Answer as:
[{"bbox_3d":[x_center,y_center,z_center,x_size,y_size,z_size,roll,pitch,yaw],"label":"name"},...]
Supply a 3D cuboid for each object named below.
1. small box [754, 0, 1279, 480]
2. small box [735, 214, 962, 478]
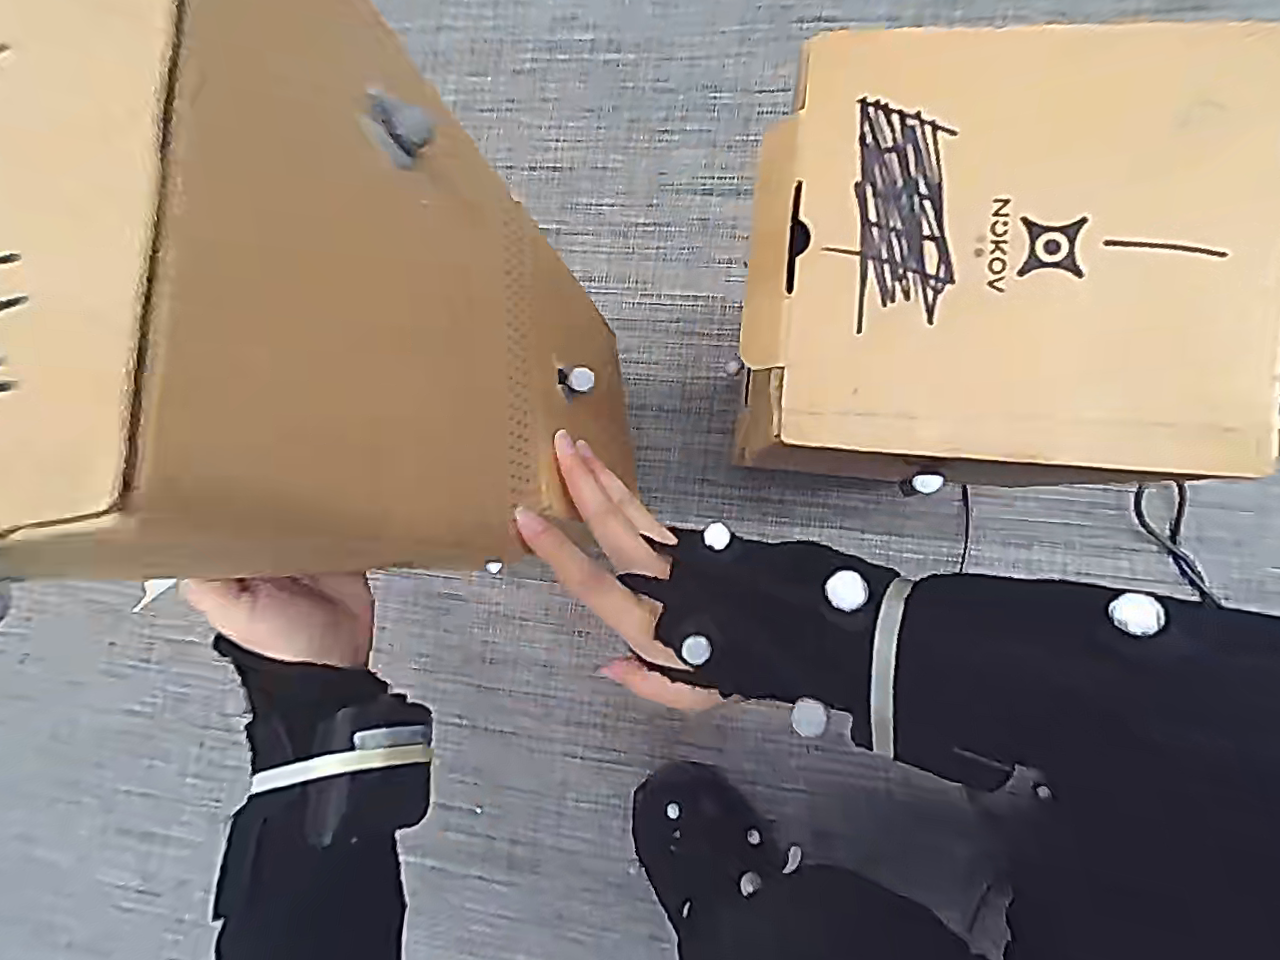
[{"bbox_3d":[0.156,-0.090,0.275,0.179,0.176,0.168,5,89,7],"label":"small box"},{"bbox_3d":[0.176,-0.092,0.438,0.179,0.176,0.168,7,89,9],"label":"small box"}]
